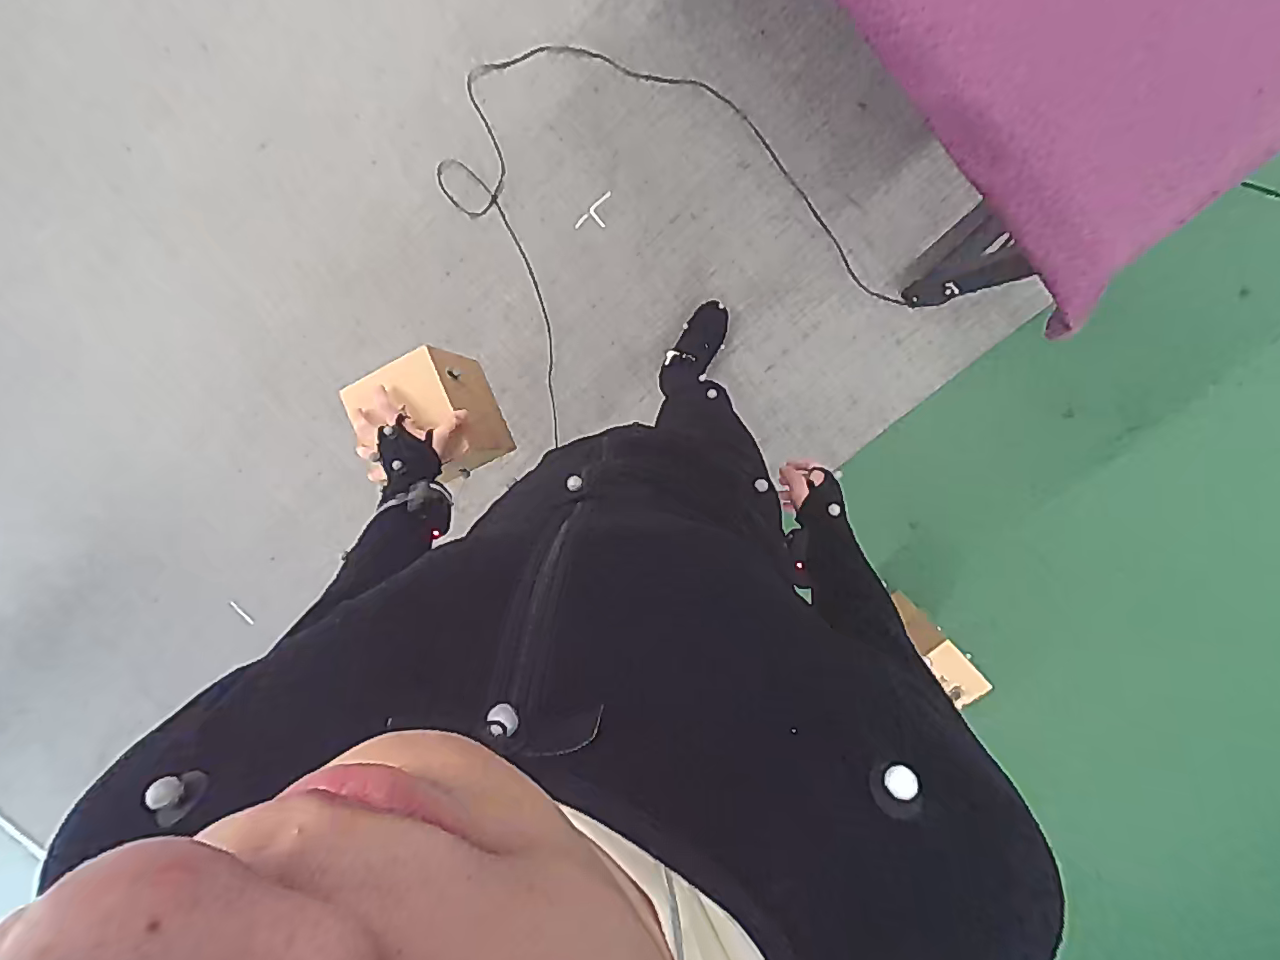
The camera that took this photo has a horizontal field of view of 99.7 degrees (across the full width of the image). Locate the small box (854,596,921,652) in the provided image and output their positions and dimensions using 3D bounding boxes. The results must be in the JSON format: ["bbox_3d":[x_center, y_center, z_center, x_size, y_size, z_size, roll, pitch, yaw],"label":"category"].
[{"bbox_3d":[0.757,0.461,1.573,0.168,0.176,0.179,-40,97,11],"label":"small box"}]

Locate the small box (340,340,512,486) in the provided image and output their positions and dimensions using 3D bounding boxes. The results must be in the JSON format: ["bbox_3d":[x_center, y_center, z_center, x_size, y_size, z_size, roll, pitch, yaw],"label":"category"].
[{"bbox_3d":[-0.339,-0.102,0.886,0.168,0.176,0.179,-23,89,12],"label":"small box"}]

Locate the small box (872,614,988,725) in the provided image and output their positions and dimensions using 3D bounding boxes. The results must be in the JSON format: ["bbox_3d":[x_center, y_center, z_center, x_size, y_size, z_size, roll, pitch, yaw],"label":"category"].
[{"bbox_3d":[0.746,0.485,1.410,0.168,0.176,0.179,-43,94,11],"label":"small box"}]
